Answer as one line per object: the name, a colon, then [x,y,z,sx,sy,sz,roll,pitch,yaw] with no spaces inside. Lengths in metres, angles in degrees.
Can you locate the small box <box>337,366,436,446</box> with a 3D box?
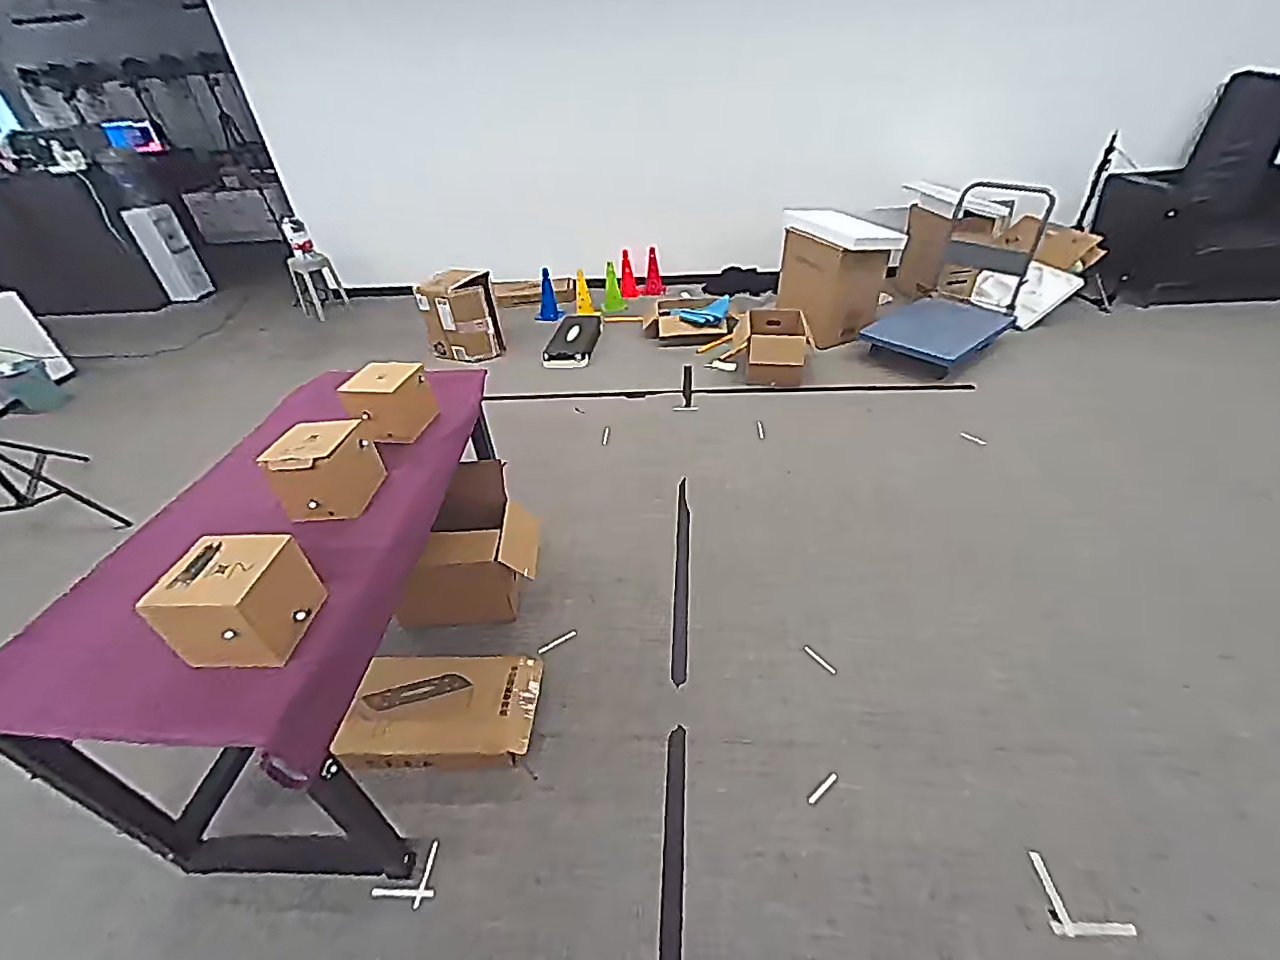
small box: [-0.707,-0.208,1.535,0.168,0.176,0.179,2,37,9]

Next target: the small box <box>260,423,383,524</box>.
small box: [-0.739,-0.016,1.283,0.168,0.176,0.179,-4,37,5]
